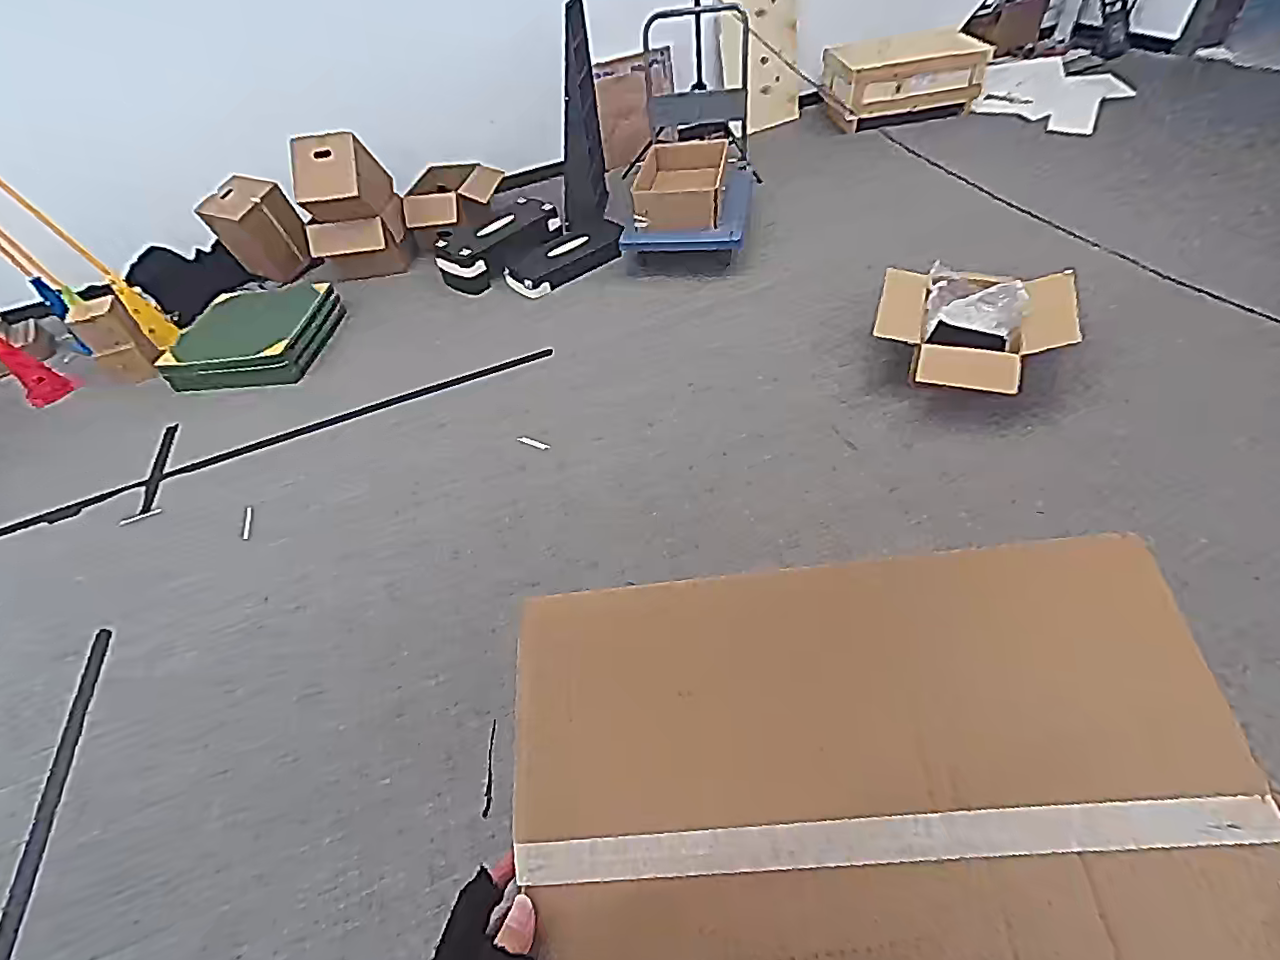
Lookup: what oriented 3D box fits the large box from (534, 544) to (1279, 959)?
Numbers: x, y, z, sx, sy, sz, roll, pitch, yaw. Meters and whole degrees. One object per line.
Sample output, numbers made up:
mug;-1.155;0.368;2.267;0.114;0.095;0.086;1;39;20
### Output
large box;0.151;0.268;0.445;0.408;0.320;0.320;-7;66;6
